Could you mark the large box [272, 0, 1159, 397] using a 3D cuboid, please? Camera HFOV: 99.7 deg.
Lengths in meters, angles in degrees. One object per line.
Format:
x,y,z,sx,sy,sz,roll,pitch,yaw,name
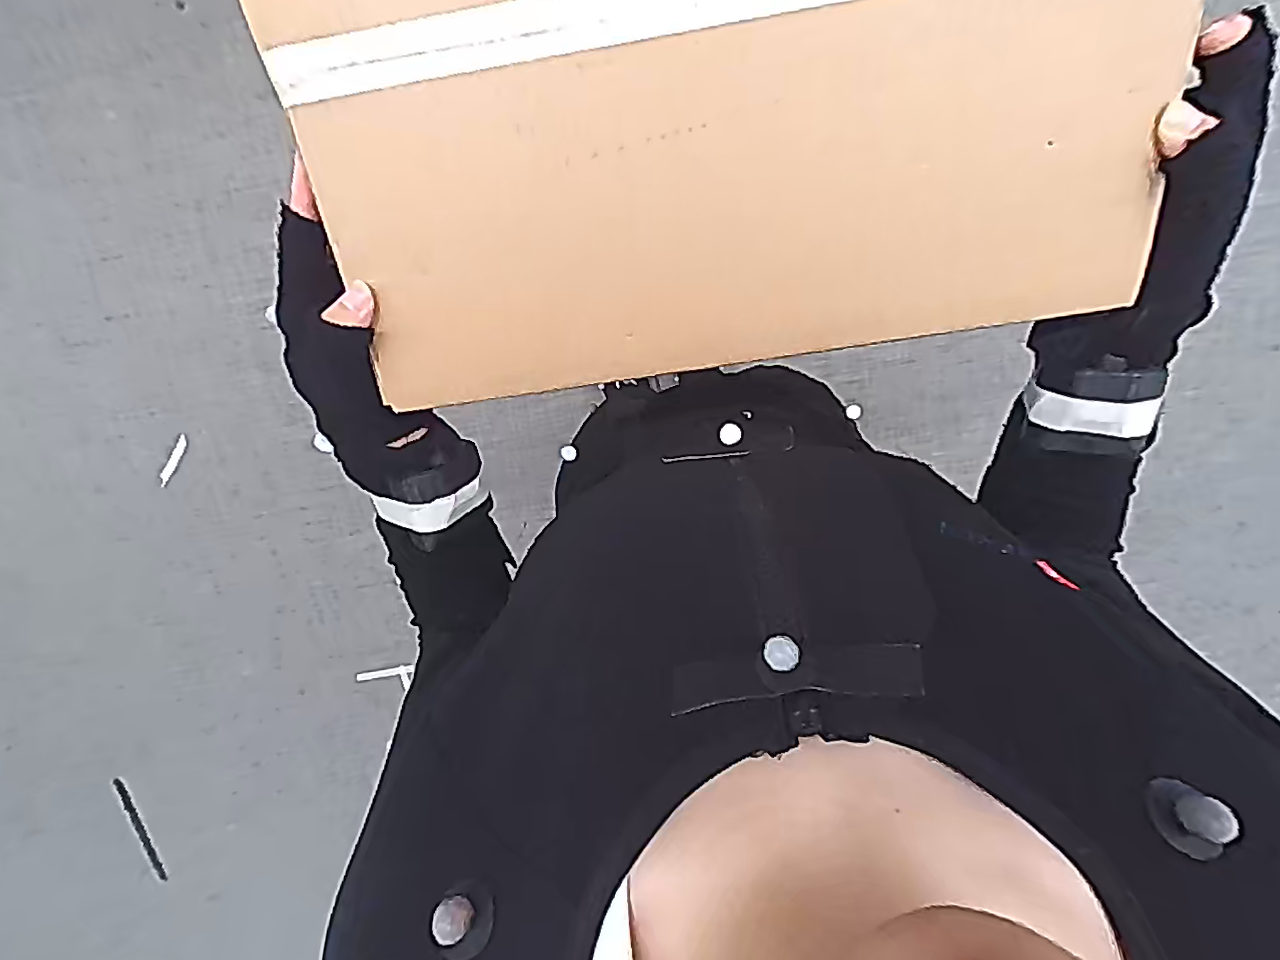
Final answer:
0.032,-0.273,0.383,0.408,0.320,0.320,-8,114,3,large box
